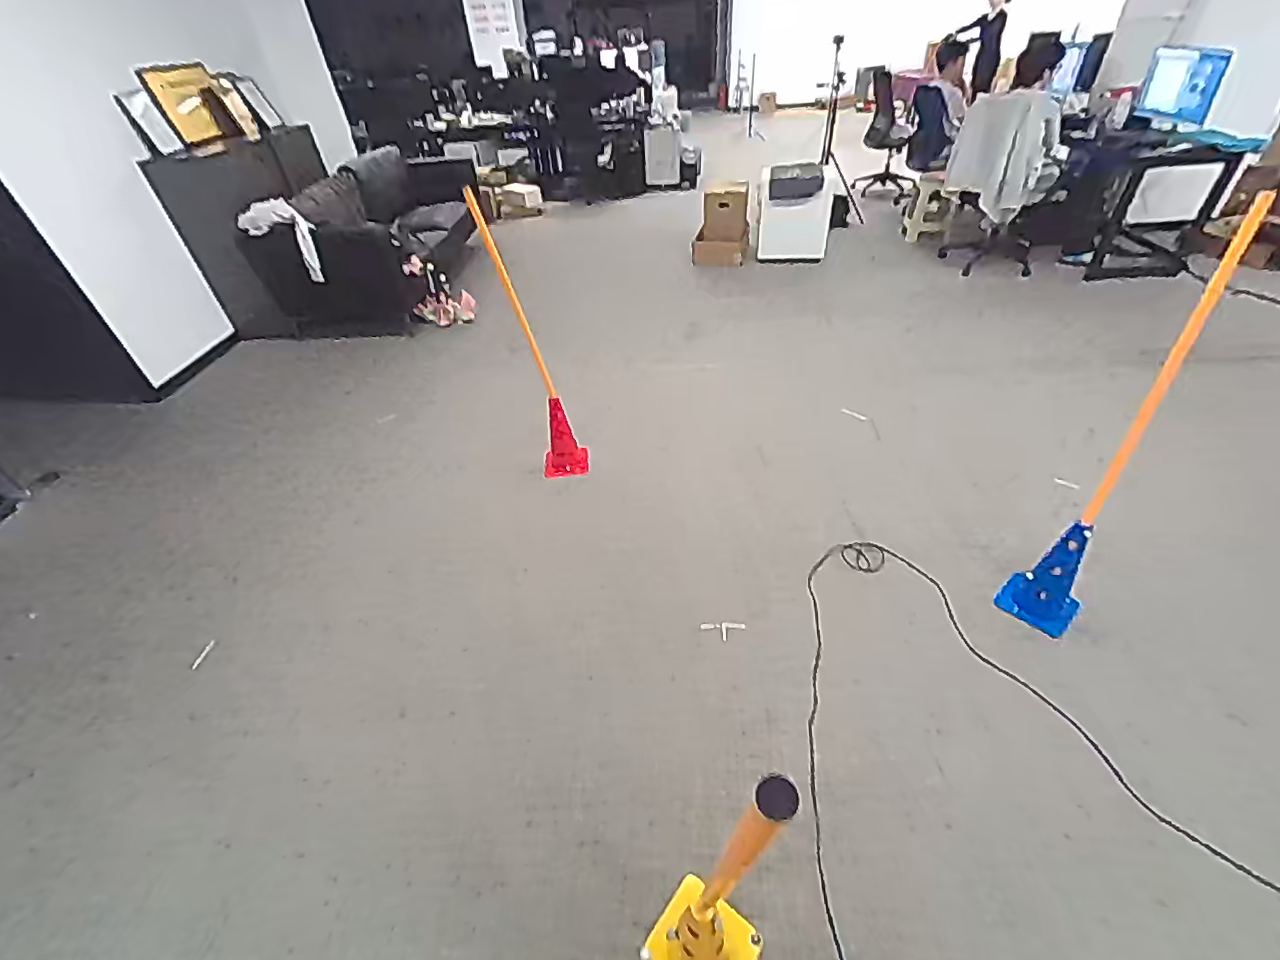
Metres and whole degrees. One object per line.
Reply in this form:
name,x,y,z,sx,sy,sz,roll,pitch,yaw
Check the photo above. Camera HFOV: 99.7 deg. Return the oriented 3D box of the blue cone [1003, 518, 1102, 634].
blue cone,1.283,0.263,1.640,0.193,0.380,0.192,-31,45,-31
